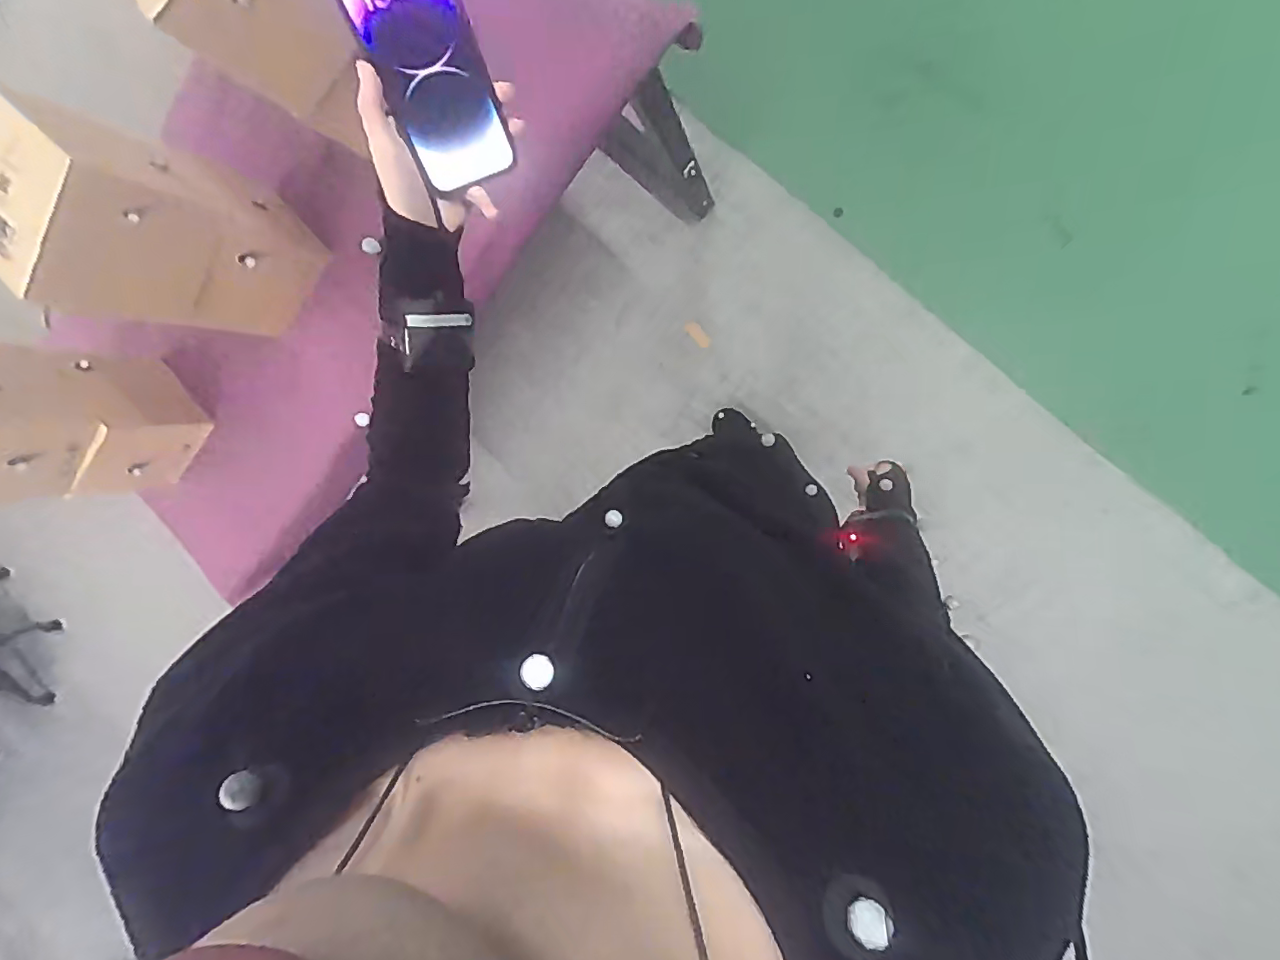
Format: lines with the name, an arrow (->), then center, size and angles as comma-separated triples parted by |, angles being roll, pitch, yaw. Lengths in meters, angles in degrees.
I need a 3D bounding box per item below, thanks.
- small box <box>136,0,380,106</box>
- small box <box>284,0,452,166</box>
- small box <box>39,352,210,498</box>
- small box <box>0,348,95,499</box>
small box -> -0.410, -0.544, 0.556 | 0.179, 0.176, 0.168 | -39, 85, 17
small box -> -0.380, -0.570, 0.716 | 0.179, 0.176, 0.168 | -39, 85, 18
small box -> -0.897, -0.097, 0.928 | 0.168, 0.176, 0.179 | -45, 84, 17
small box -> -0.949, -0.082, 0.773 | 0.179, 0.176, 0.168 | 42, 105, 7
